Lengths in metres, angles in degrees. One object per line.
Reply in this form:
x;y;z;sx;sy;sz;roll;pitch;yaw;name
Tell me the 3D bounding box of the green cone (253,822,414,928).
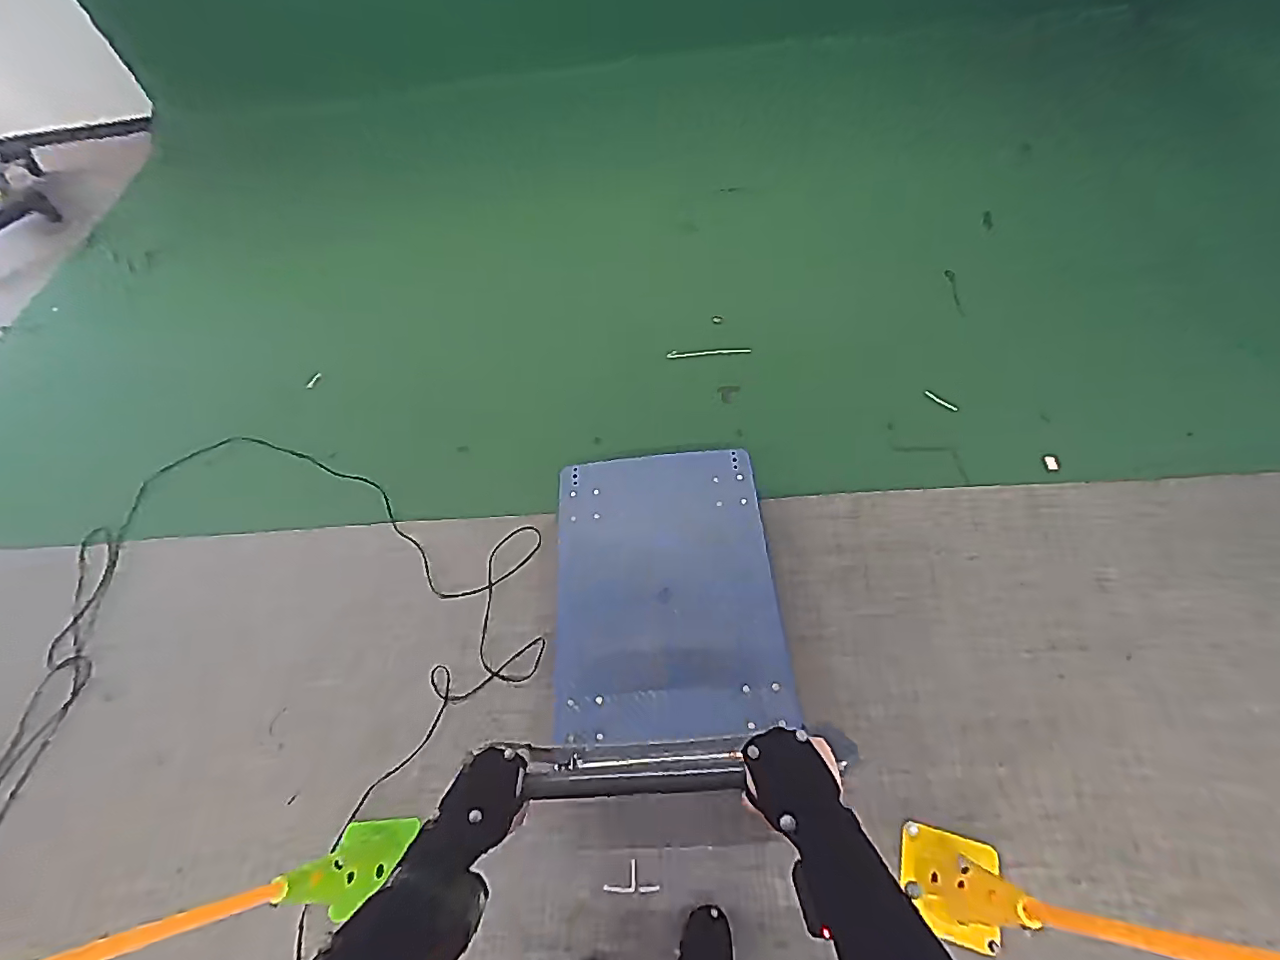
-0.673;0.861;1.158;0.202;0.368;0.200;-8;58;5;green cone
